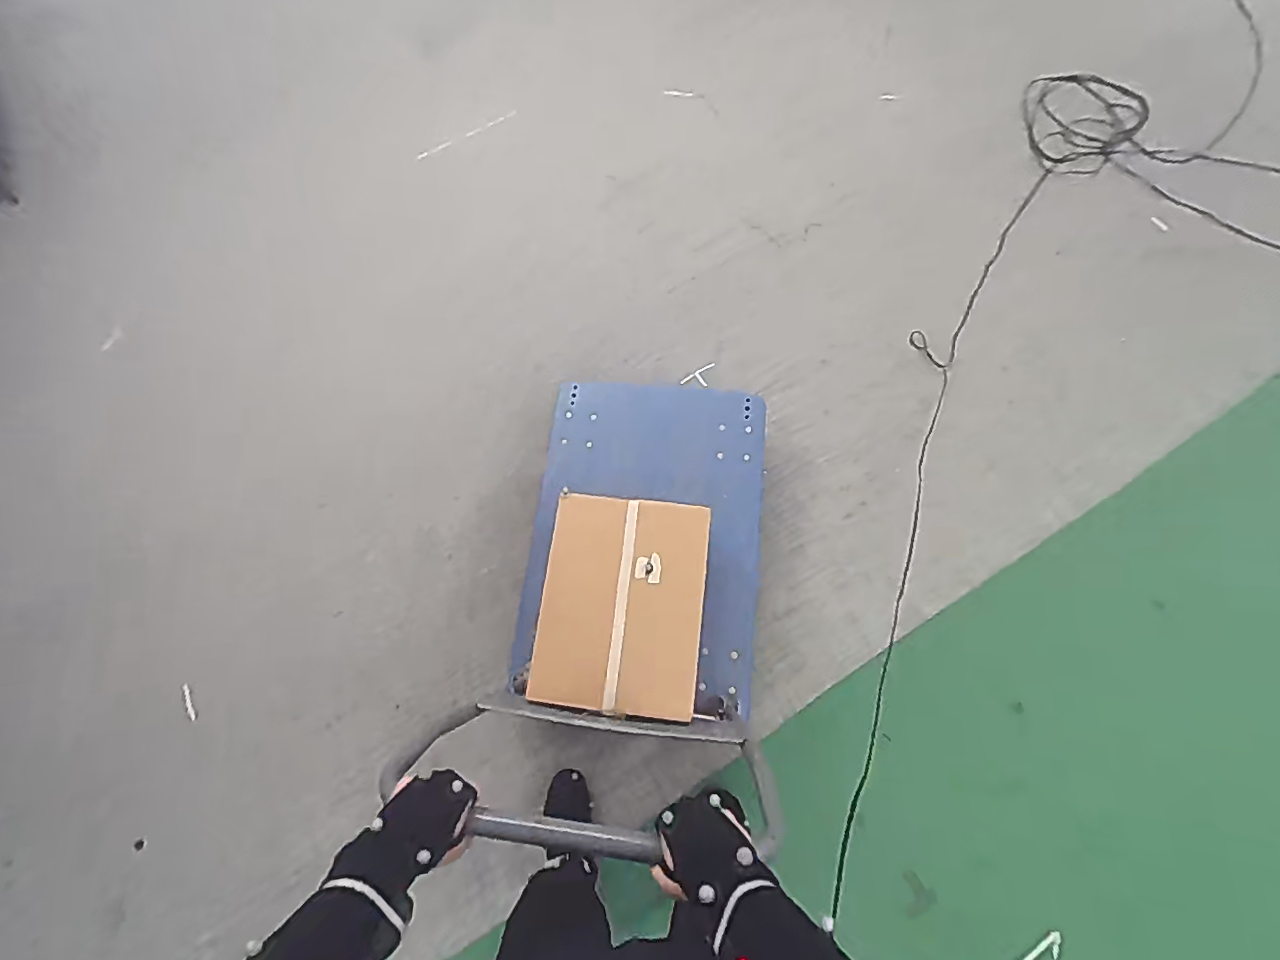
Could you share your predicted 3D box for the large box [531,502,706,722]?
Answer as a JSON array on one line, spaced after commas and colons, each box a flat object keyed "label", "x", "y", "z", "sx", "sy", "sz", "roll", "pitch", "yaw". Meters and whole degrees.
[{"label": "large box", "x": -0.025, "y": 0.294, "z": 1.204, "sx": 0.320, "sy": 0.320, "sz": 0.408, "roll": 5, "pitch": 72, "yaw": 6}]
